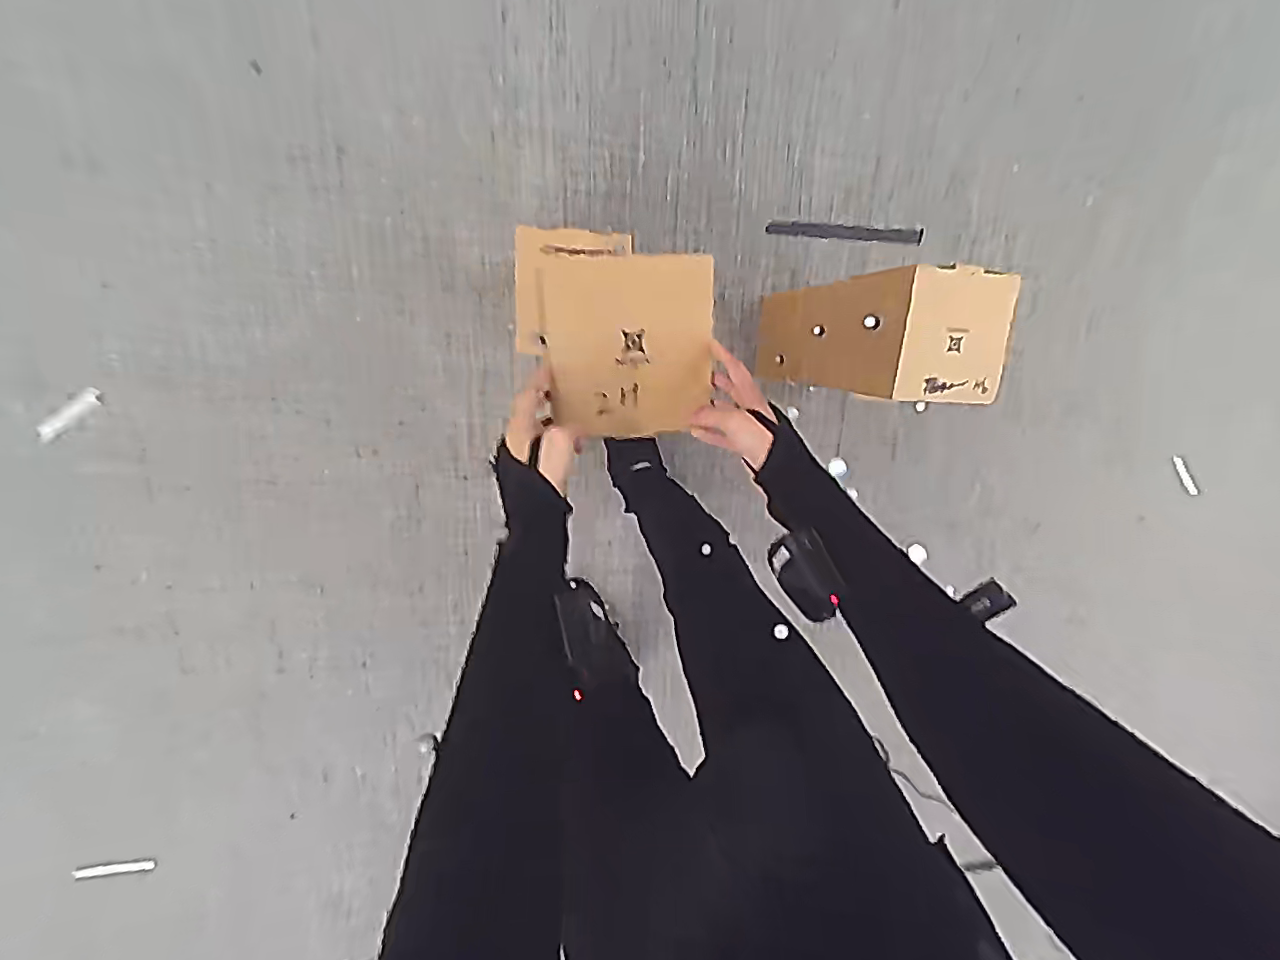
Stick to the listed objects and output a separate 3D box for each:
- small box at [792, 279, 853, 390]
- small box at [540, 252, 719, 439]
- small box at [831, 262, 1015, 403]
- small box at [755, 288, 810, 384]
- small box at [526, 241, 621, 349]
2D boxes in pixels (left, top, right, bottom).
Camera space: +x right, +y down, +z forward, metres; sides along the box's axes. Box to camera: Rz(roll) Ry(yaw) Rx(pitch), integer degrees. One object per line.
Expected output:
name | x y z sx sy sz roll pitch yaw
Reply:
small box | 0.389 -0.252 0.966 0.168 0.176 0.179 1 104 -12
small box | -0.020 -0.153 0.602 0.168 0.176 0.179 -5 110 -11
small box | 0.406 -0.213 0.806 0.168 0.176 0.179 1 103 -11
small box | 0.352 -0.291 1.121 0.168 0.176 0.179 2 104 -12
small box | -0.129 -0.337 1.017 0.168 0.176 0.179 -2 104 -9
